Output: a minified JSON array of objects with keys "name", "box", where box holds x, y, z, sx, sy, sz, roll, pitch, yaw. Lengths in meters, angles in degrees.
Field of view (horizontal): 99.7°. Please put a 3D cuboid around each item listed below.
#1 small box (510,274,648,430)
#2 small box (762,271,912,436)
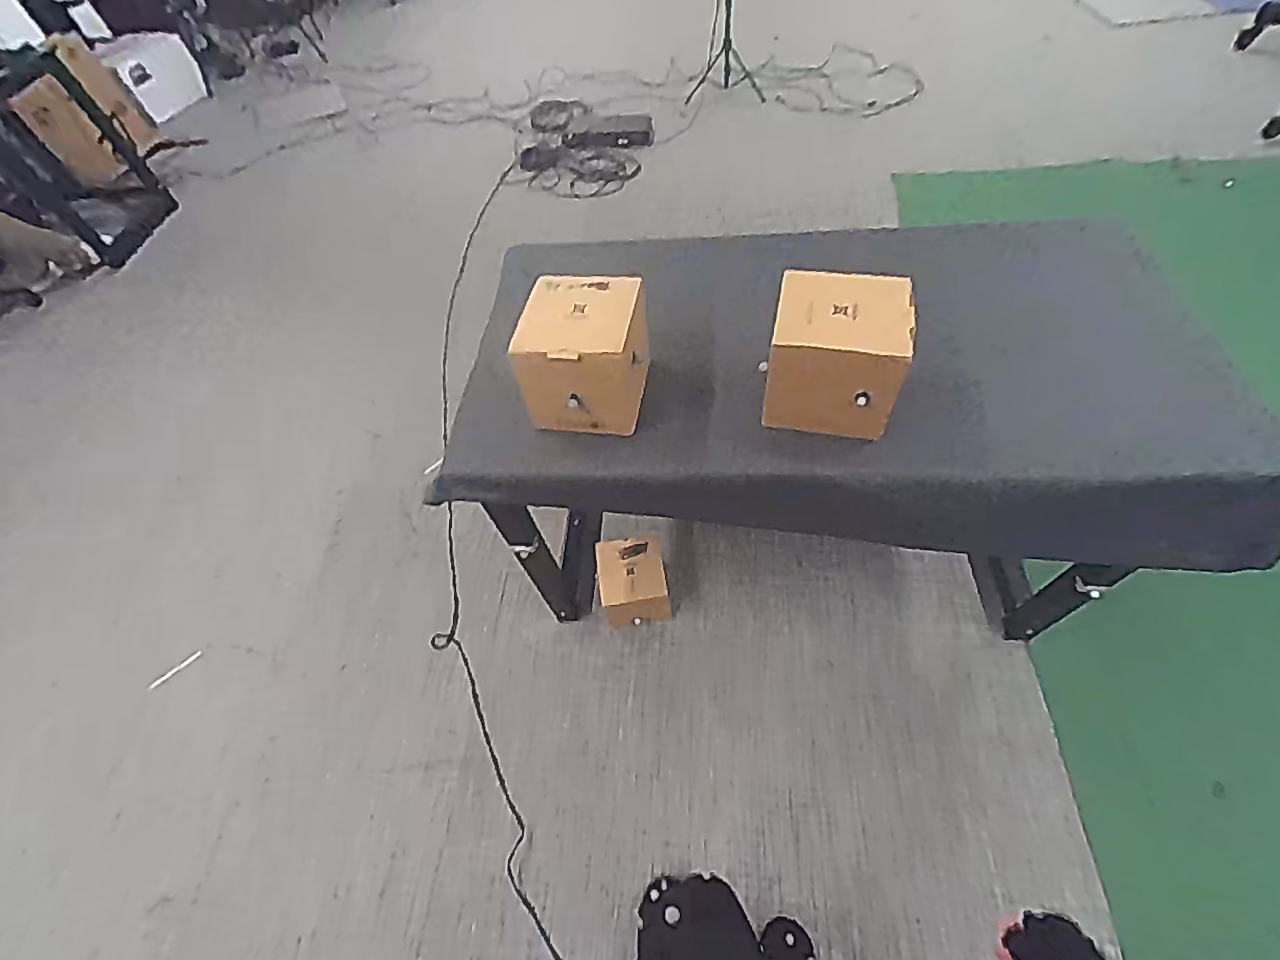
[{"name":"small box","box":[-0.082,-0.197,0.848,0.168,0.176,0.179,5,56,8]},{"name":"small box","box":[0.284,-0.183,0.803,0.179,0.176,0.168,8,56,13]}]
